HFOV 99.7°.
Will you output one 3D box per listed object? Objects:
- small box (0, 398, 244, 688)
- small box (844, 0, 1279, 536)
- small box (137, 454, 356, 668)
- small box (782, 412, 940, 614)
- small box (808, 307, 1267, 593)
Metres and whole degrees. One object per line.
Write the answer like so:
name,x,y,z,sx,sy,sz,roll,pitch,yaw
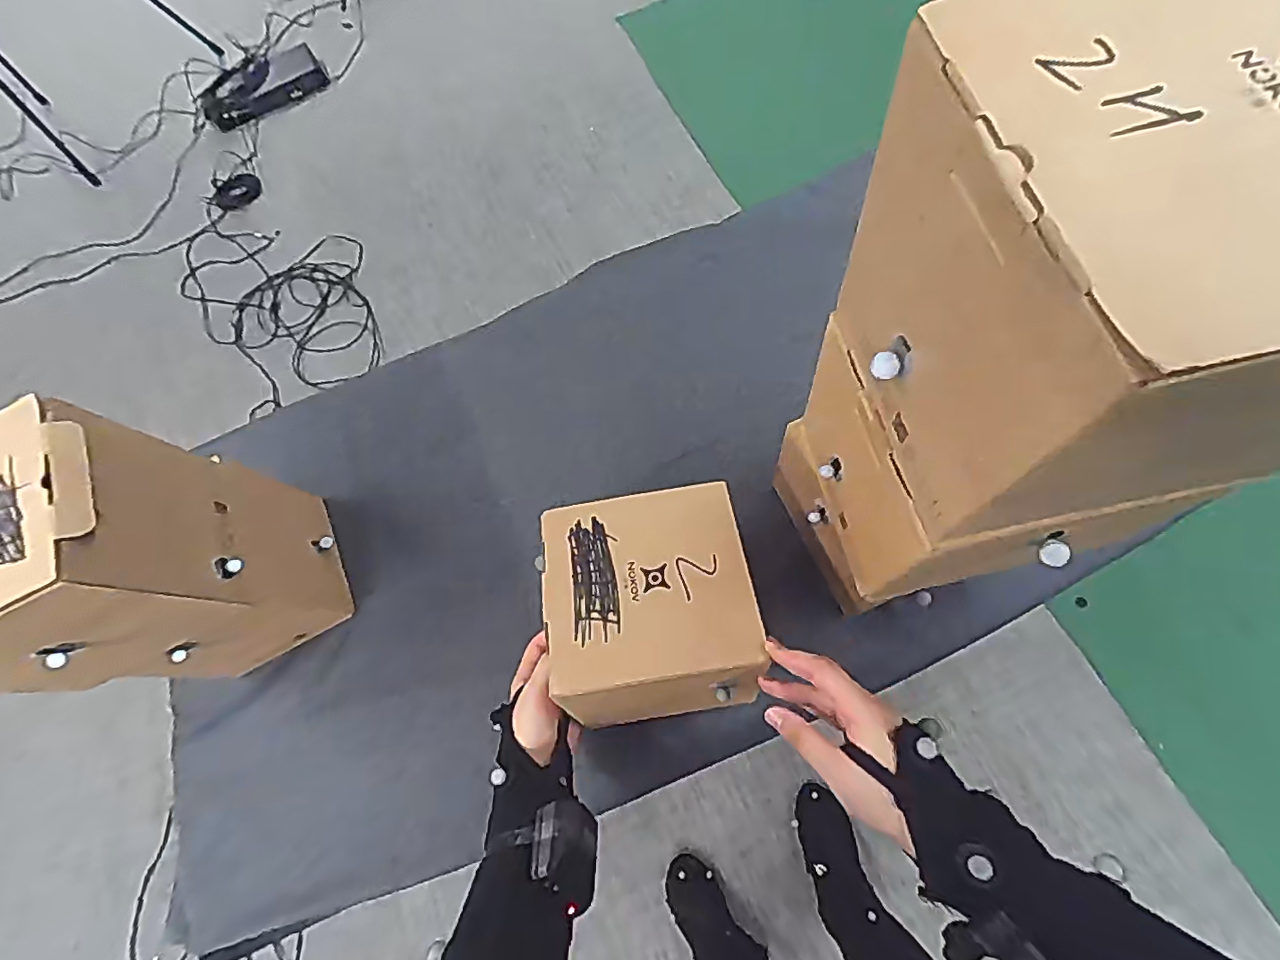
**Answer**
small box,-0.485,0.064,0.468,0.179,0.176,0.168,-28,70,-1
small box,0.210,-0.087,0.233,0.179,0.176,0.168,-13,68,6
small box,-0.469,0.104,0.628,0.168,0.176,0.179,-28,69,-2
small box,0.256,0.017,0.541,0.168,0.176,0.179,-24,68,1
small box,0.236,-0.027,0.385,0.179,0.176,0.168,-15,68,5
